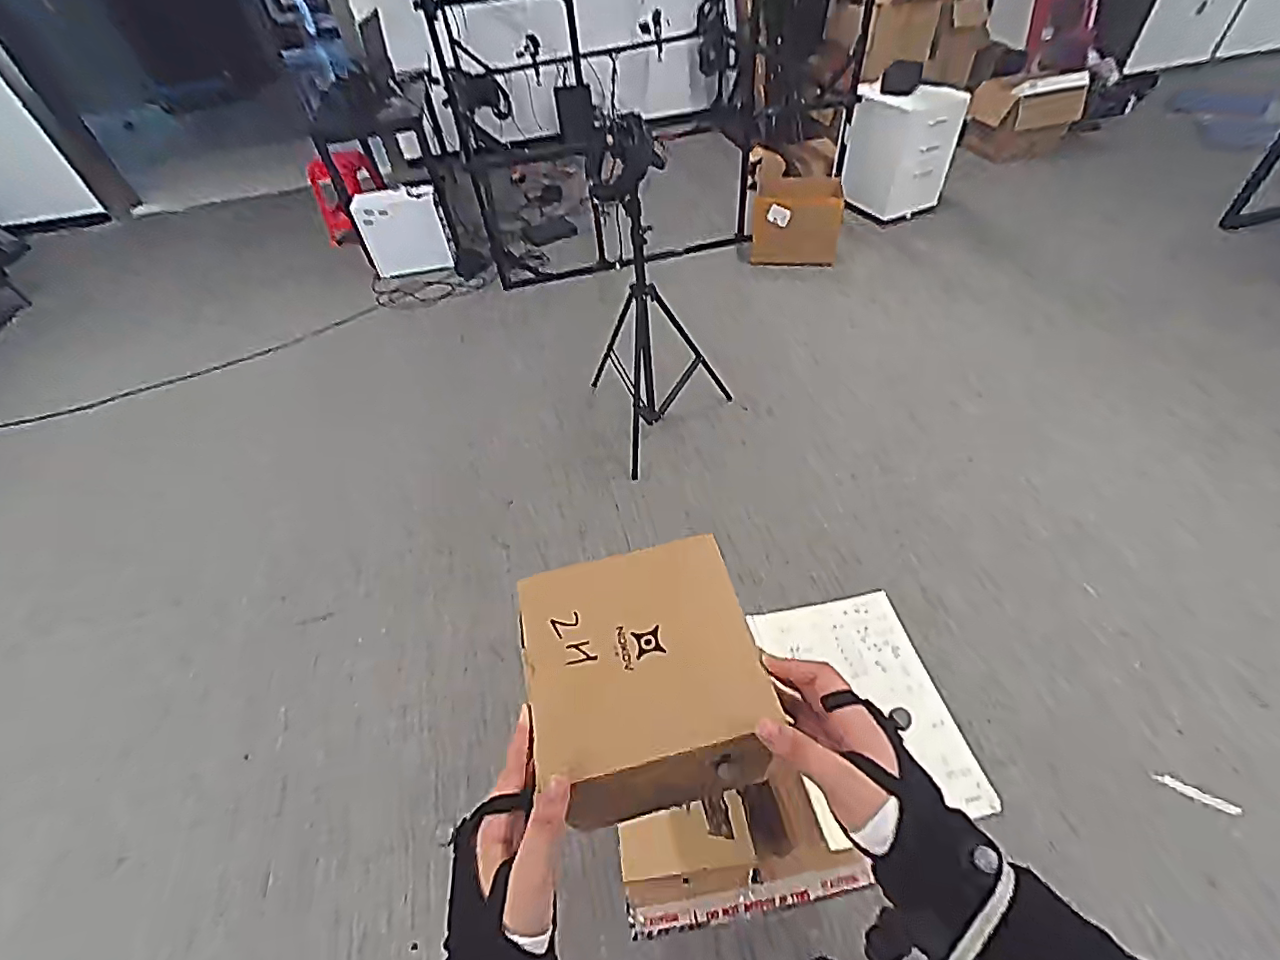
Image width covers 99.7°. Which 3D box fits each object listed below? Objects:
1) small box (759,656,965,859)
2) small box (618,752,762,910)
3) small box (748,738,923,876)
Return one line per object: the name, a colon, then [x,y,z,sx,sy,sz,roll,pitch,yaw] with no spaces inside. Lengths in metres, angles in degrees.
small box: [0.268,0.361,0.705,0.168,0.176,0.179,-11,48,-7]
small box: [0.069,0.520,0.799,0.179,0.176,0.168,-9,49,0]
small box: [0.280,0.474,0.821,0.179,0.176,0.168,-13,49,-8]
